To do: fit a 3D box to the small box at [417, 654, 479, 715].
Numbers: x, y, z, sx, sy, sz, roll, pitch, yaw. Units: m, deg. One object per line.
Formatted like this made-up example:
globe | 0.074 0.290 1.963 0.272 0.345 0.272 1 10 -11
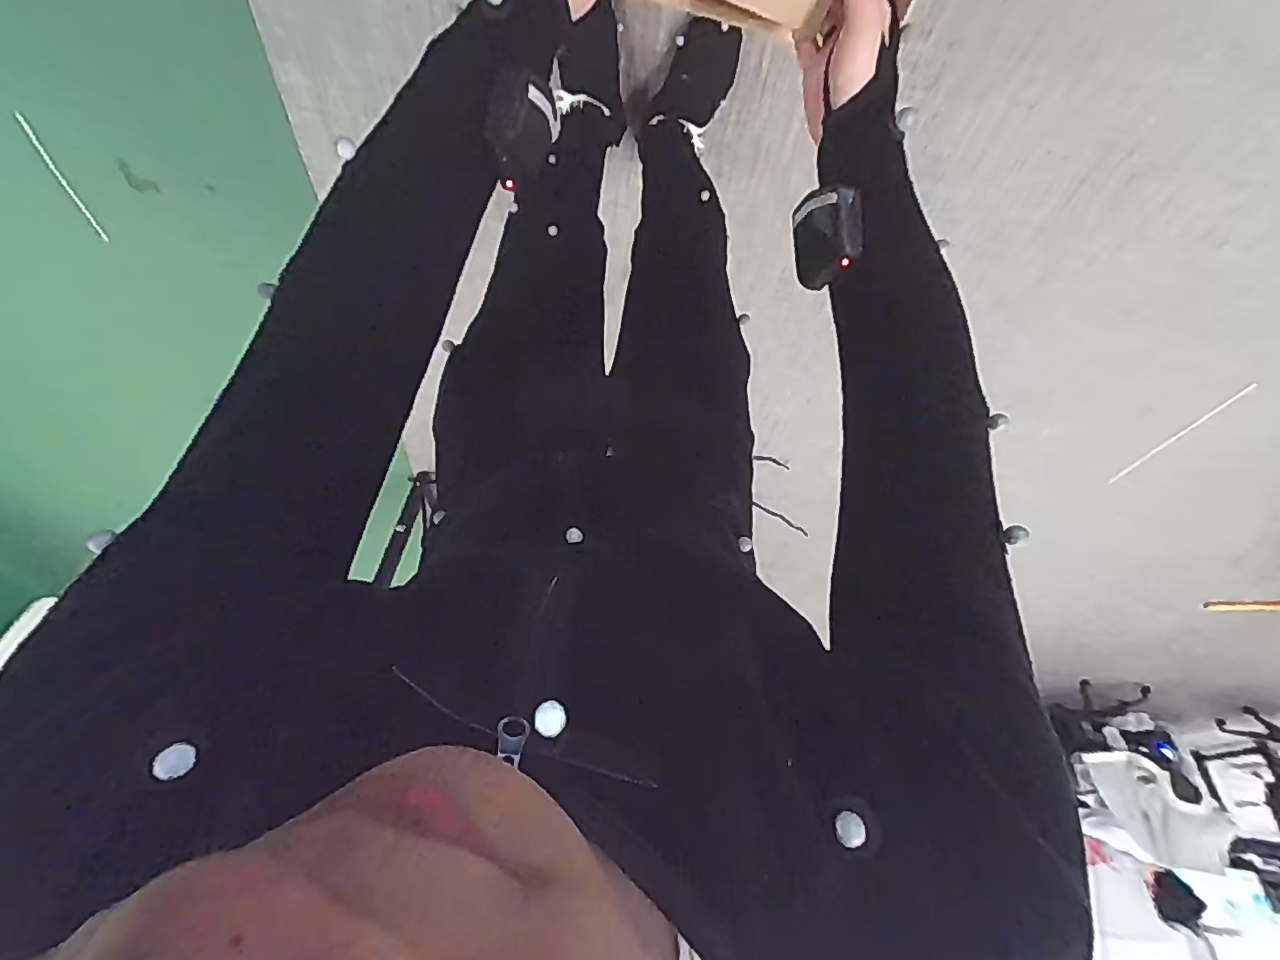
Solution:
small box | -0.694 0.741 1.963 0.179 0.176 0.168 15 146 -12
